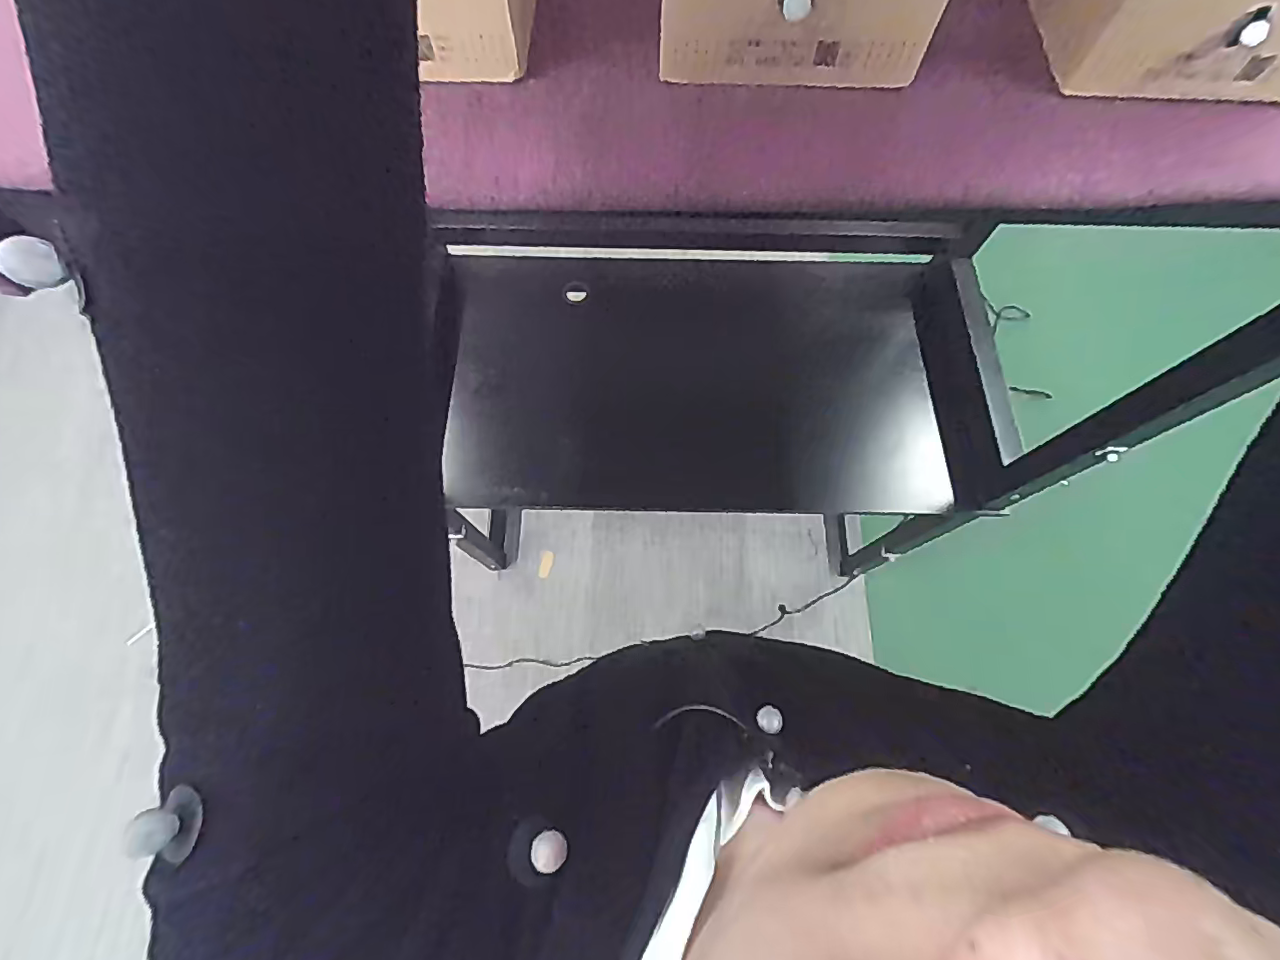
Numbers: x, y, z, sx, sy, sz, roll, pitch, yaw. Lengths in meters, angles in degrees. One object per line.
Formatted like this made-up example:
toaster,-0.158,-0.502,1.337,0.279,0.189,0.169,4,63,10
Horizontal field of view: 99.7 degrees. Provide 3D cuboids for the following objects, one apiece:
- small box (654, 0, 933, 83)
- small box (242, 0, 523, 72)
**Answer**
small box,0.093,-0.371,0.306,0.168,0.176,0.179,2,69,0
small box,-0.160,-0.374,0.304,0.168,0.176,0.179,0,68,0
